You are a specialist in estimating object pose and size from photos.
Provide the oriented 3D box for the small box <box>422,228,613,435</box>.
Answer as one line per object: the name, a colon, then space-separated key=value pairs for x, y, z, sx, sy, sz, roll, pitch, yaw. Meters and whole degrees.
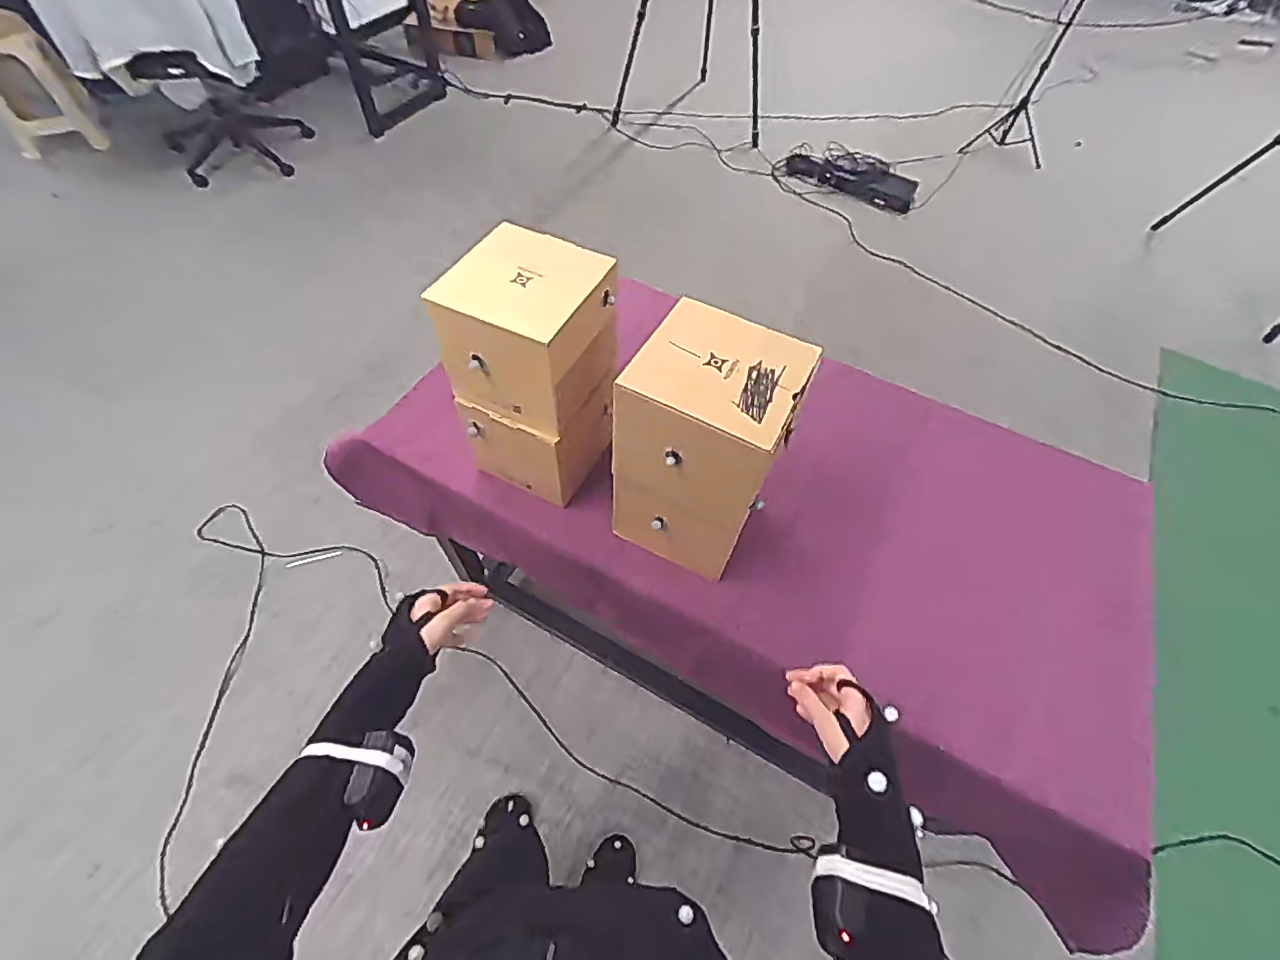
small box: x=-0.142 y=-0.187 z=0.704 sx=0.168 sy=0.176 sz=0.179 roll=22 pitch=57 yaw=11

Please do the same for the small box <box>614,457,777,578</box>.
small box: x=0.076 y=0.016 z=0.775 sx=0.179 sy=0.176 sz=0.168 roll=25 pitch=59 yaw=13

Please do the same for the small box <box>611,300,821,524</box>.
small box: x=0.081 y=-0.072 z=0.636 sx=0.179 sy=0.176 sz=0.168 roll=26 pitch=58 yaw=14
